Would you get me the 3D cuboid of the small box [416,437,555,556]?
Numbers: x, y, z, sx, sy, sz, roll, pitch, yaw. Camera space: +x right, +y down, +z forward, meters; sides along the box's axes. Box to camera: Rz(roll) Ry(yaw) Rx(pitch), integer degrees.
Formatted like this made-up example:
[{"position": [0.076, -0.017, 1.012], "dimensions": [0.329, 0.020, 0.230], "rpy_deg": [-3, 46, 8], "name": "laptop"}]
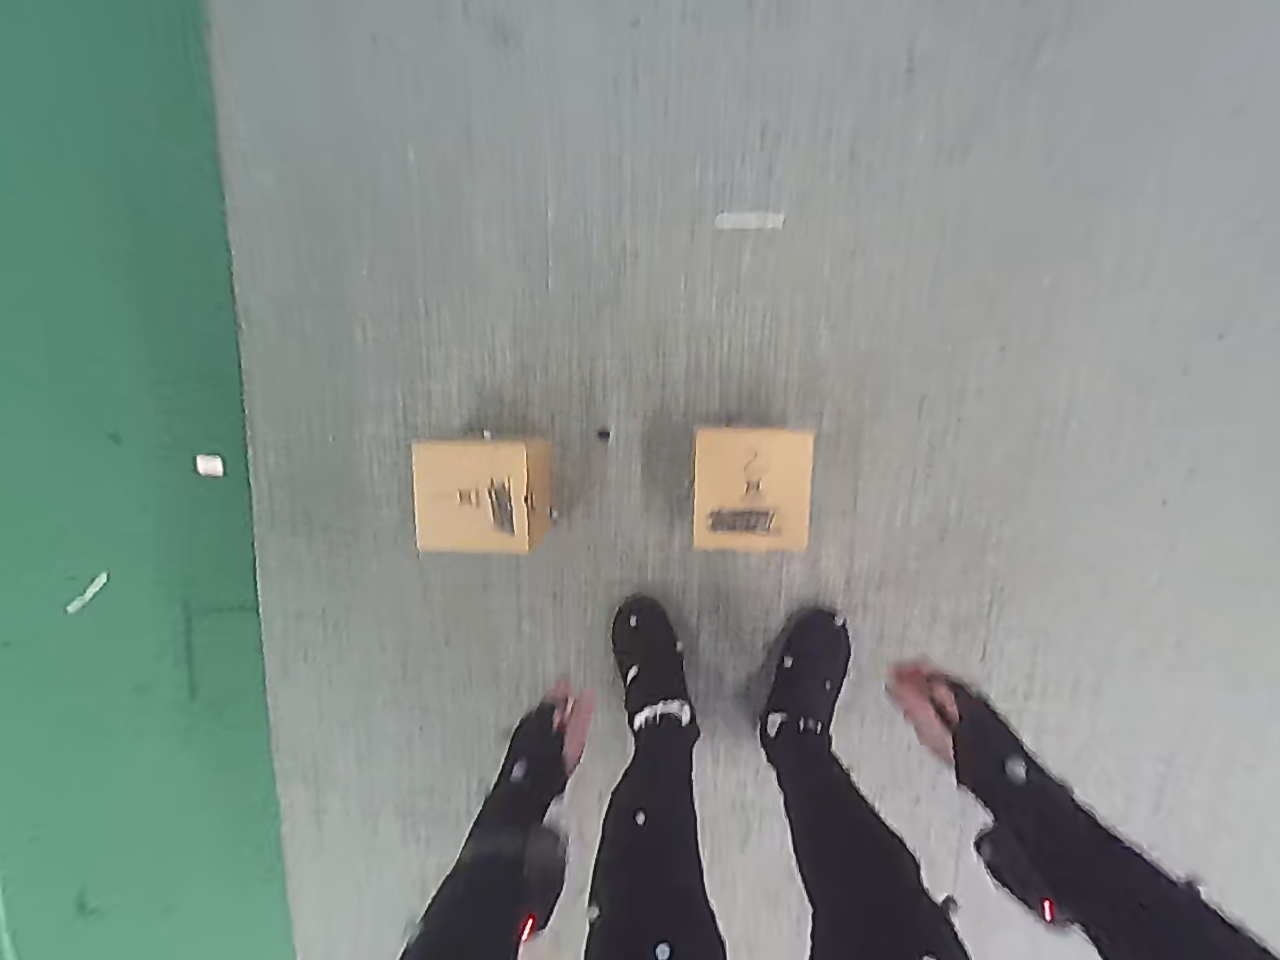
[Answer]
[{"position": [-0.237, 0.017, 0.871], "dimensions": [0.179, 0.176, 0.168], "rpy_deg": [2, 98, 4], "name": "small box"}]
